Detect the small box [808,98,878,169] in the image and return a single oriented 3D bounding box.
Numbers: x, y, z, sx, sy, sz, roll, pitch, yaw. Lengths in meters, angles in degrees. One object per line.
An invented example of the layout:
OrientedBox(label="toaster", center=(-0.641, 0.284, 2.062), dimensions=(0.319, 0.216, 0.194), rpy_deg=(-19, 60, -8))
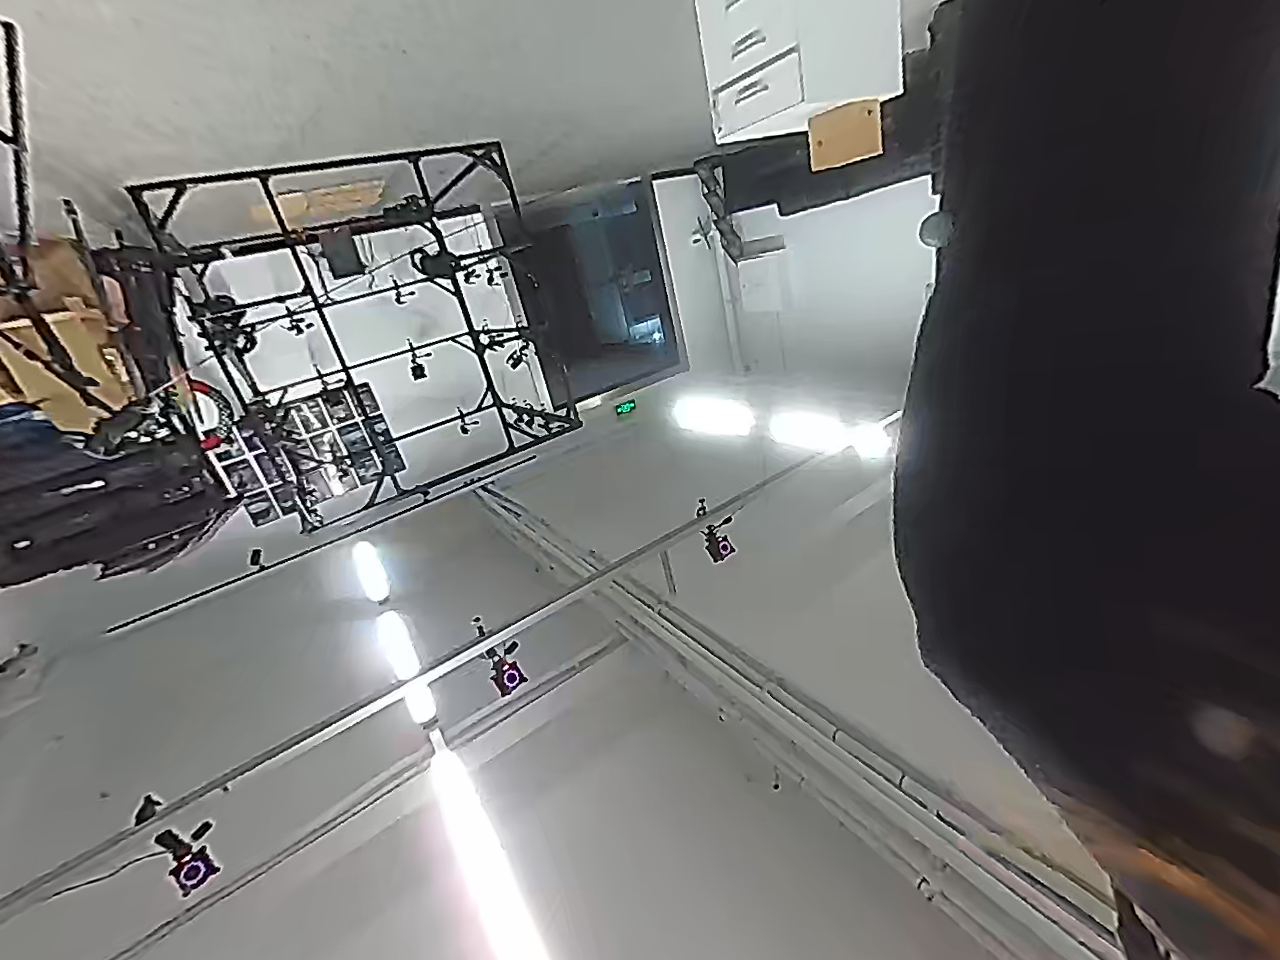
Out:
OrientedBox(label="small box", center=(0.702, -1.202, 1.875), dimensions=(0.168, 0.176, 0.179), rpy_deg=(-28, -153, -29))
